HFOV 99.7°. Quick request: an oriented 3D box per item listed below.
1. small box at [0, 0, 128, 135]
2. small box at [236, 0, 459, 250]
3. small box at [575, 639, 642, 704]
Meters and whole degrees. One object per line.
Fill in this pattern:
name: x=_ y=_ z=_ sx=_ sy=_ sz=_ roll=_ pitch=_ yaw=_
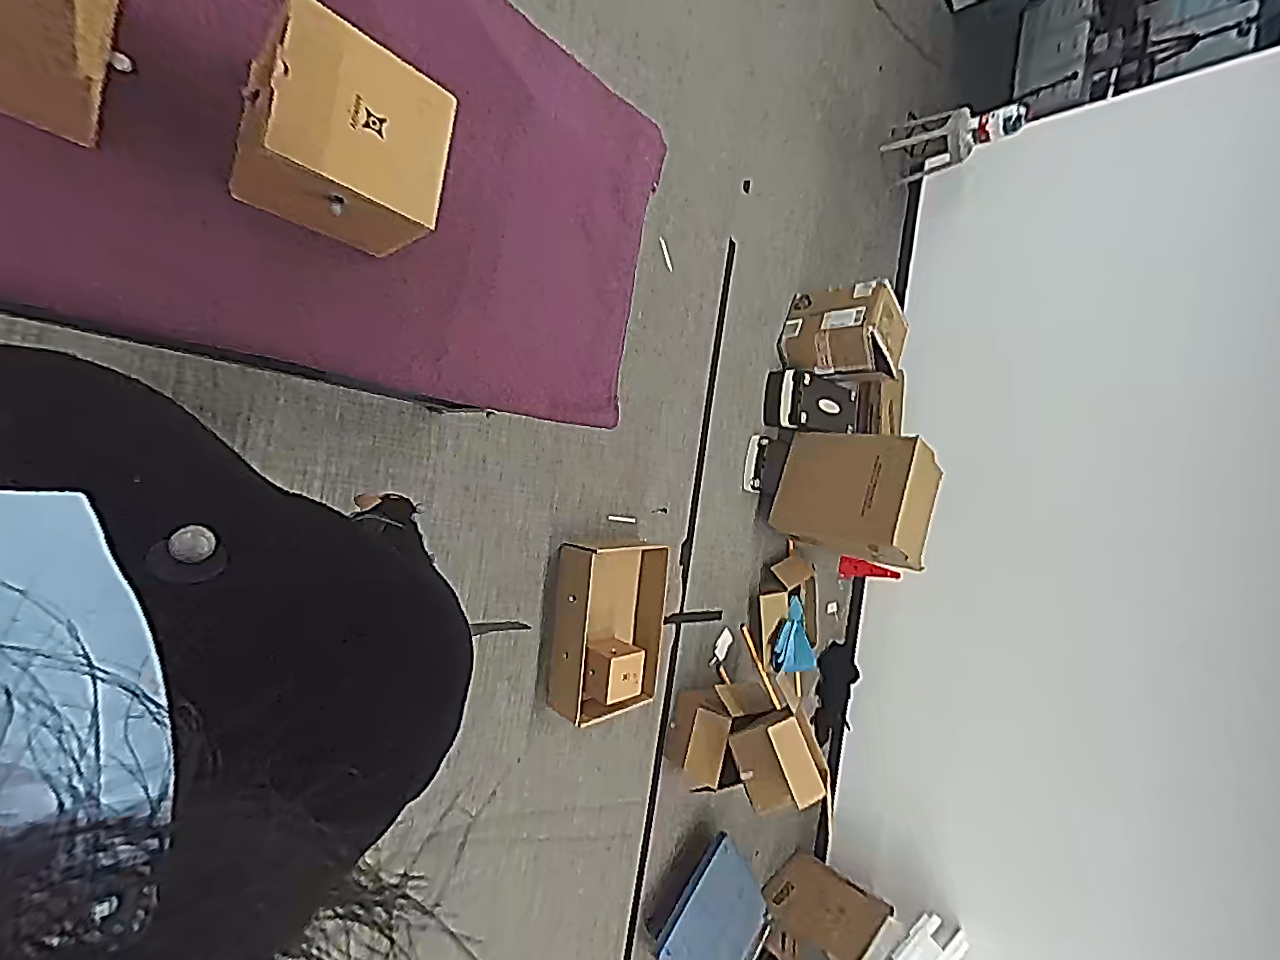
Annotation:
small box: x=-0.543 y=-0.422 z=0.436 sx=0.179 sy=0.176 sz=0.168 roll=11 pitch=88 yaw=-47
small box: x=-0.347 y=-0.394 z=0.643 sx=0.179 sy=0.176 sz=0.168 roll=11 pitch=87 yaw=-45
small box: x=-0.119 y=0.700 z=1.991 sx=0.179 sy=0.176 sz=0.168 roll=6 pitch=92 yaw=-47
